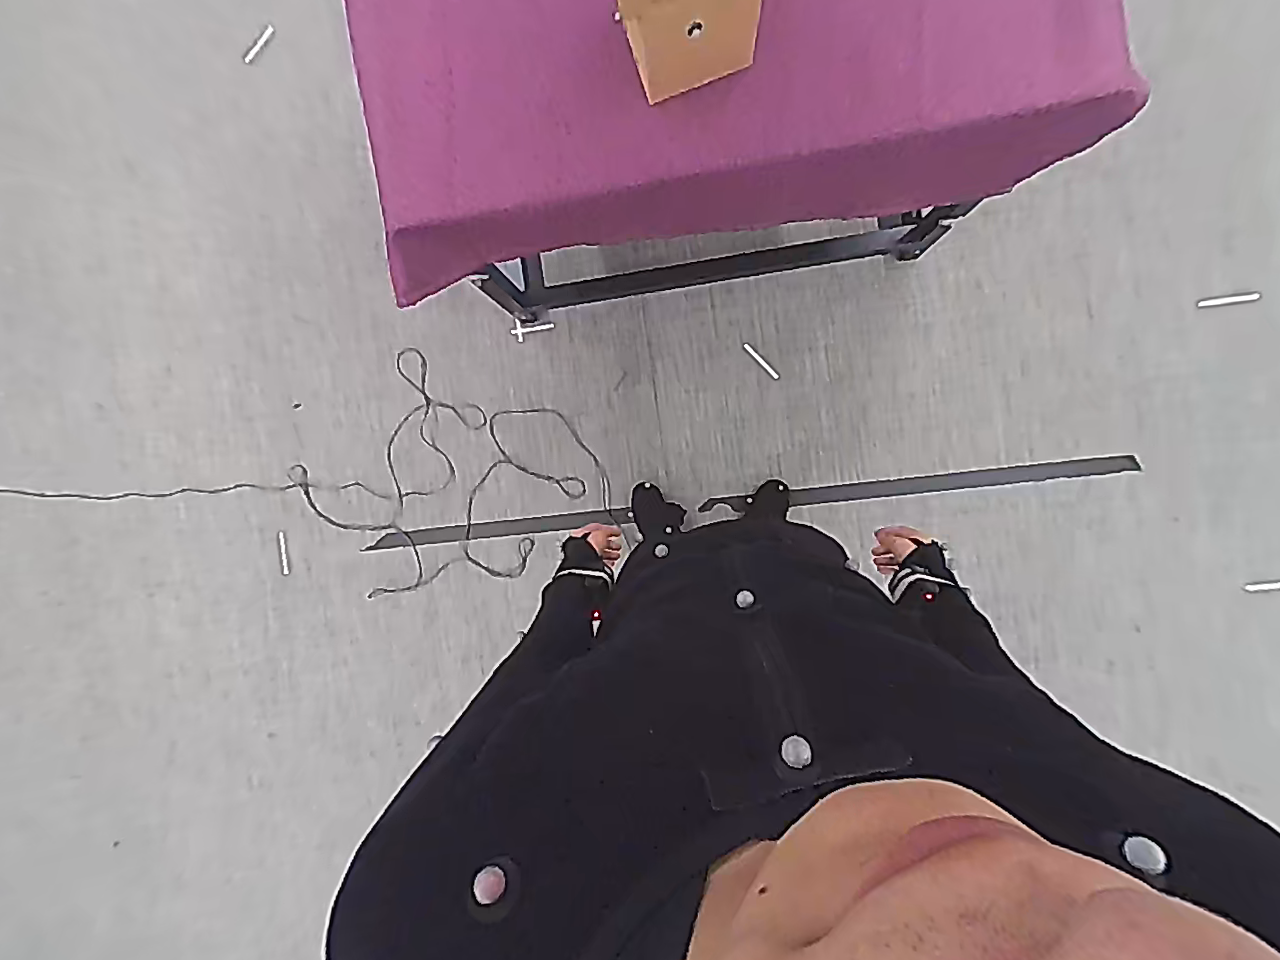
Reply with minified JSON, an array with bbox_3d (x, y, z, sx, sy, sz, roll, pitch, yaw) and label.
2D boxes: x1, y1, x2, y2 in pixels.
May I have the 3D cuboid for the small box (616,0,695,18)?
[{"bbox_3d":[0.026,-0.715,0.639,0.168,0.176,0.179,-13,91,6],"label":"small box"}]

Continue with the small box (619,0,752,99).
[{"bbox_3d":[0.062,-0.716,0.801,0.179,0.176,0.168,-18,90,4],"label":"small box"}]
